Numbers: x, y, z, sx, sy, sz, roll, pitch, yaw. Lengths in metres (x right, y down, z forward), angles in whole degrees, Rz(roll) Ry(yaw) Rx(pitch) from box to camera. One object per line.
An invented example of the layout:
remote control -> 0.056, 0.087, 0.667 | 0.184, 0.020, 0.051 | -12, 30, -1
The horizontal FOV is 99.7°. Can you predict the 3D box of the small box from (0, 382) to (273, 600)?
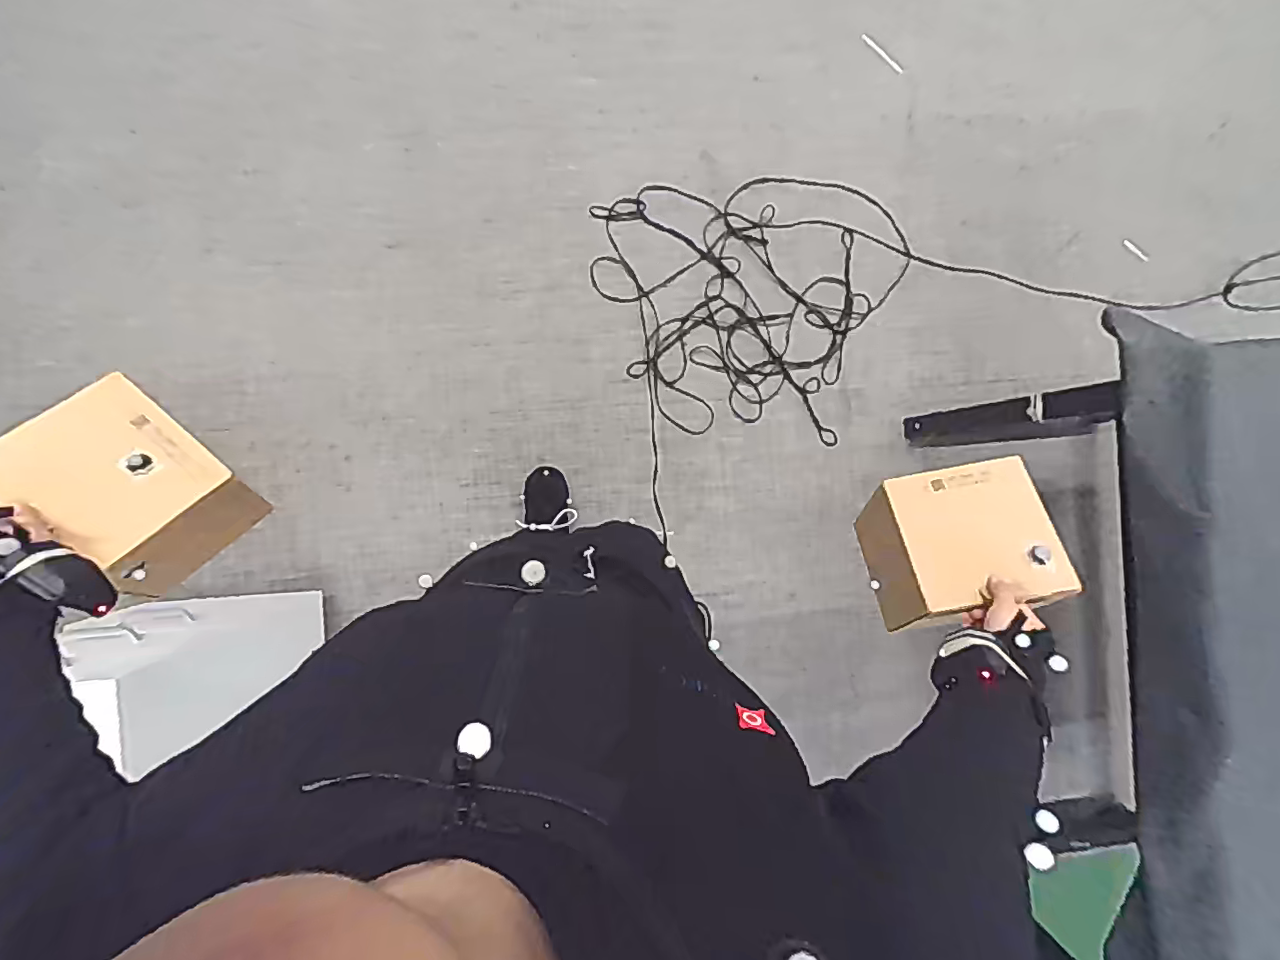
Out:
small box -> -0.578, 0.019, 0.636 | 0.168, 0.179, 0.176 | 43, 64, -4
